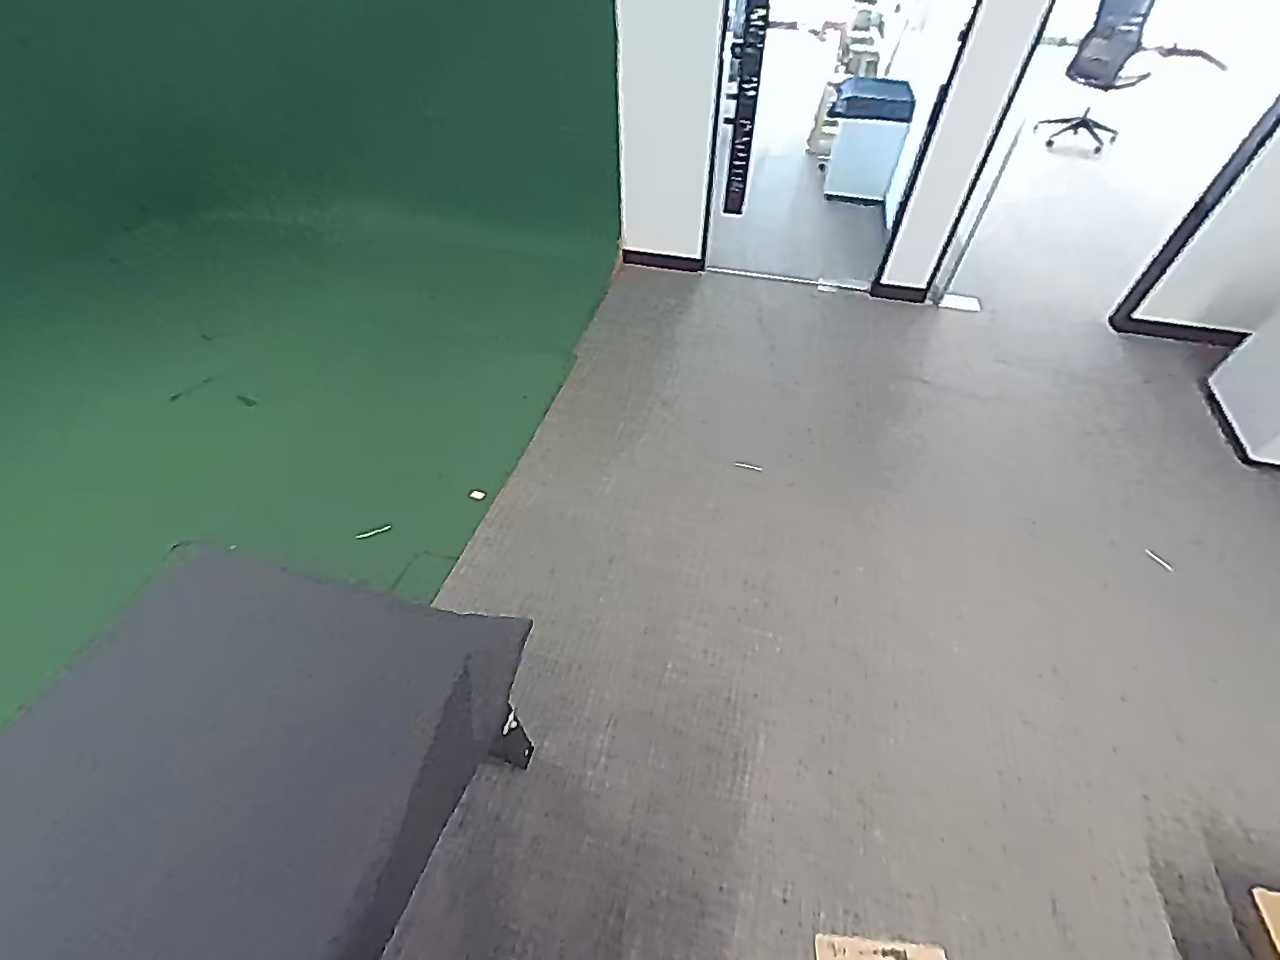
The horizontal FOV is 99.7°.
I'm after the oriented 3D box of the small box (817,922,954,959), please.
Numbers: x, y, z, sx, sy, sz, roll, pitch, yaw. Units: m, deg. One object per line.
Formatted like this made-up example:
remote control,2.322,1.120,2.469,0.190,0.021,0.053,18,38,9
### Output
small box,0.309,0.690,0.647,0.168,0.179,0.176,-3,90,13
